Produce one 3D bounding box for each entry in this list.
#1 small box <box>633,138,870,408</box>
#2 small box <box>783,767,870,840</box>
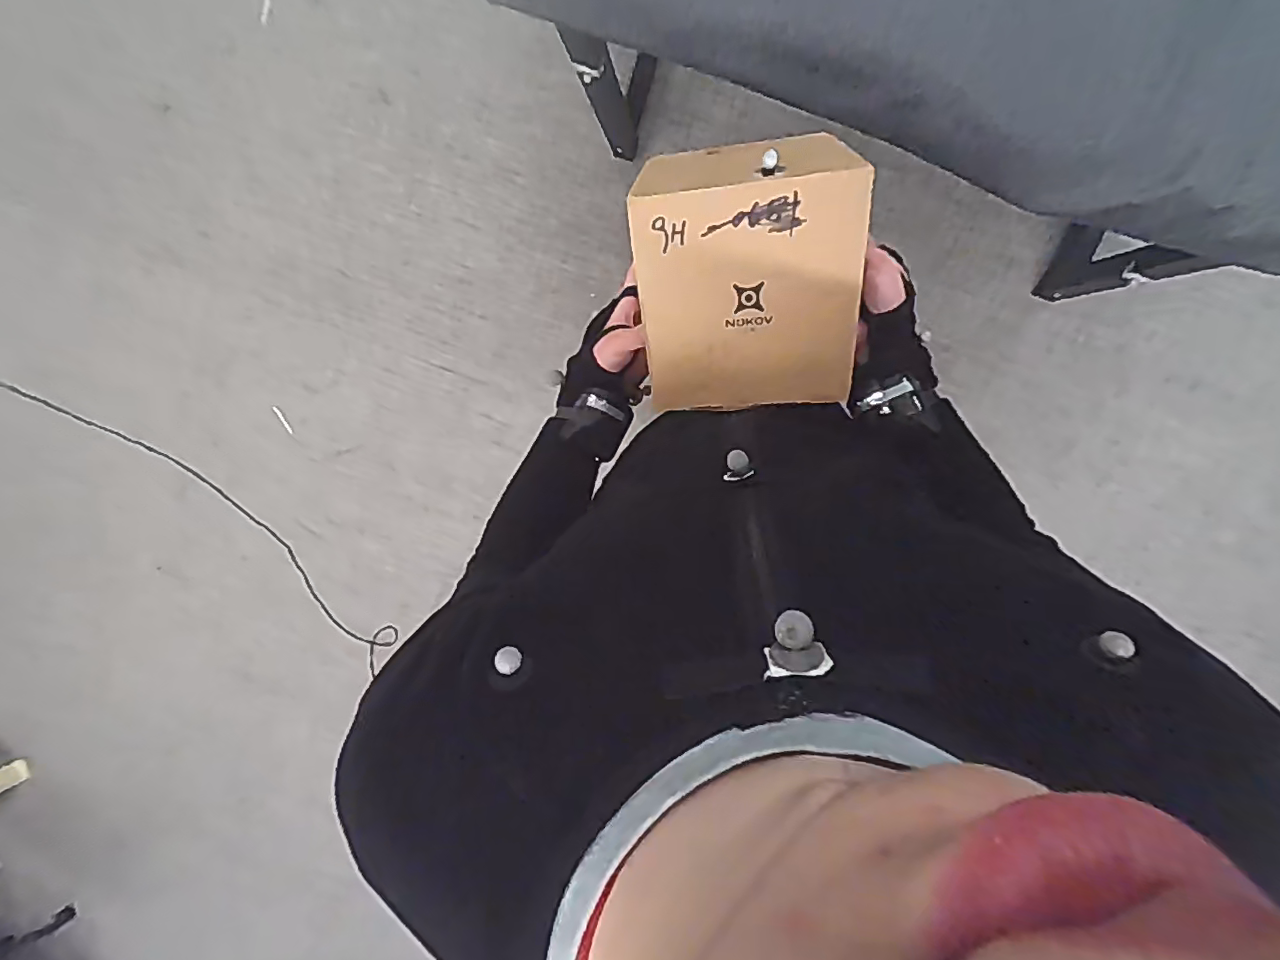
[{"bbox_3d":[0.092,-0.186,0.488,0.168,0.176,0.179,-3,130,8],"label":"small box"},{"bbox_3d":[0.569,1.033,1.670,0.179,0.176,0.168,32,102,-1],"label":"small box"}]
